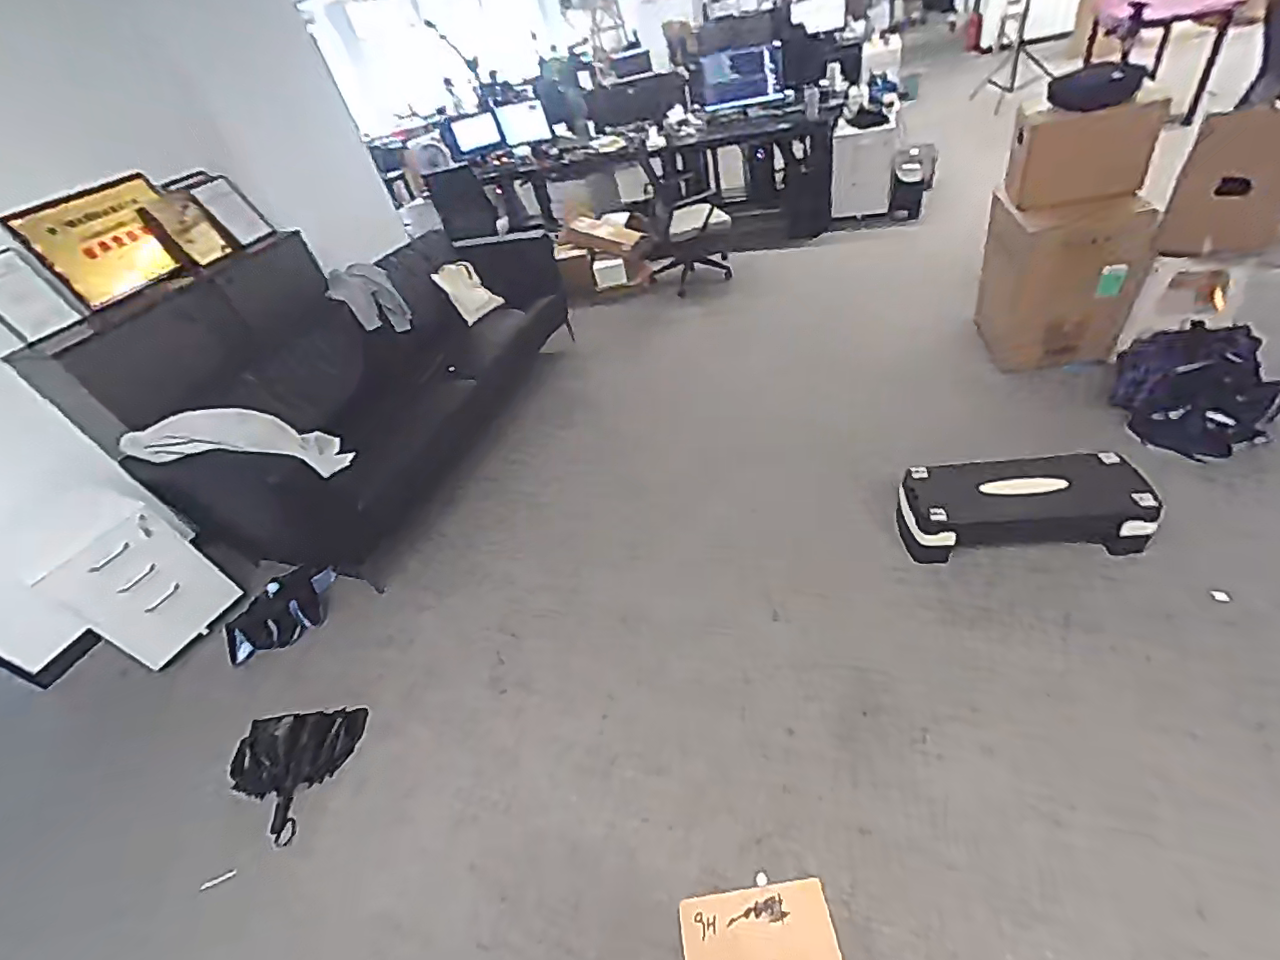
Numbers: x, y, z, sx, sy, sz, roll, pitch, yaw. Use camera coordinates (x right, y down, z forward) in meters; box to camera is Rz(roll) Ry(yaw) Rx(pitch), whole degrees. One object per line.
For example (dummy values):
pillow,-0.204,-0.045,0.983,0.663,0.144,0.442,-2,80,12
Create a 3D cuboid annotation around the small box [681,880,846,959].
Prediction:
small box,0.150,0.575,0.598,0.168,0.176,0.179,-13,43,3
